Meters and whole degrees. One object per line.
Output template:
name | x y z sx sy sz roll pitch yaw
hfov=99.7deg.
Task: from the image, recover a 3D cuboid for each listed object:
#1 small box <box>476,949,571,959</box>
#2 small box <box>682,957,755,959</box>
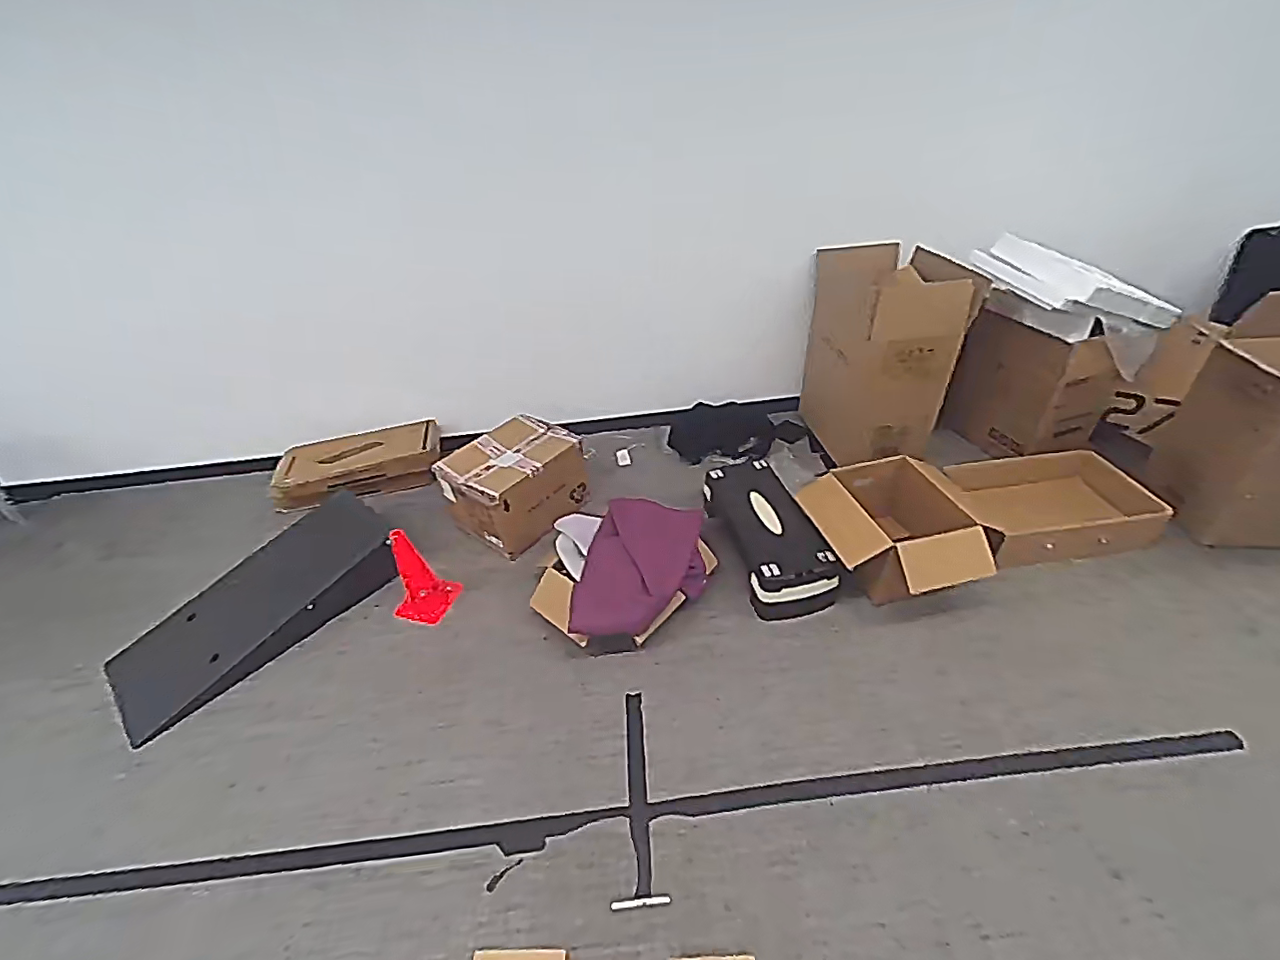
small box | -0.202 0.945 0.931 0.168 0.176 0.179 -4 37 4
small box | 0.144 1.042 1.032 0.179 0.176 0.168 -4 37 2
